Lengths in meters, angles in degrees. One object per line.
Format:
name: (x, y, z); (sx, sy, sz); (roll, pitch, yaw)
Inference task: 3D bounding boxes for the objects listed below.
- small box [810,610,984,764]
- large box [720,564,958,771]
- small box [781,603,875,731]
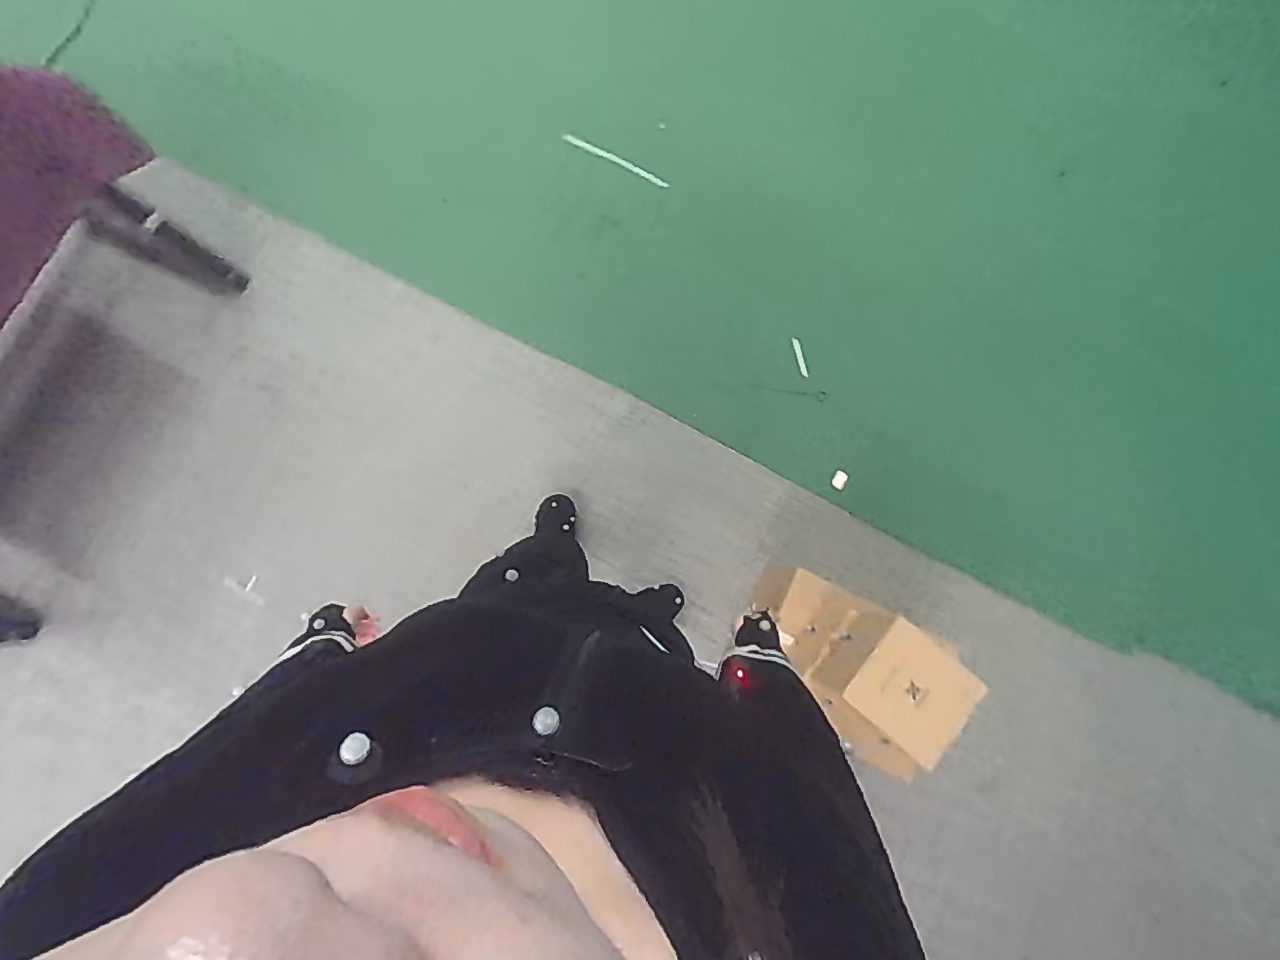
small box: (0.432, 0.342, 0.938); (0.179, 0.176, 0.168); (41, 82, 6)
large box: (0.460, 0.428, 1.337); (0.408, 0.320, 0.320); (27, 83, 2)
small box: (0.419, 0.366, 1.099); (0.179, 0.176, 0.168); (38, 83, 5)
